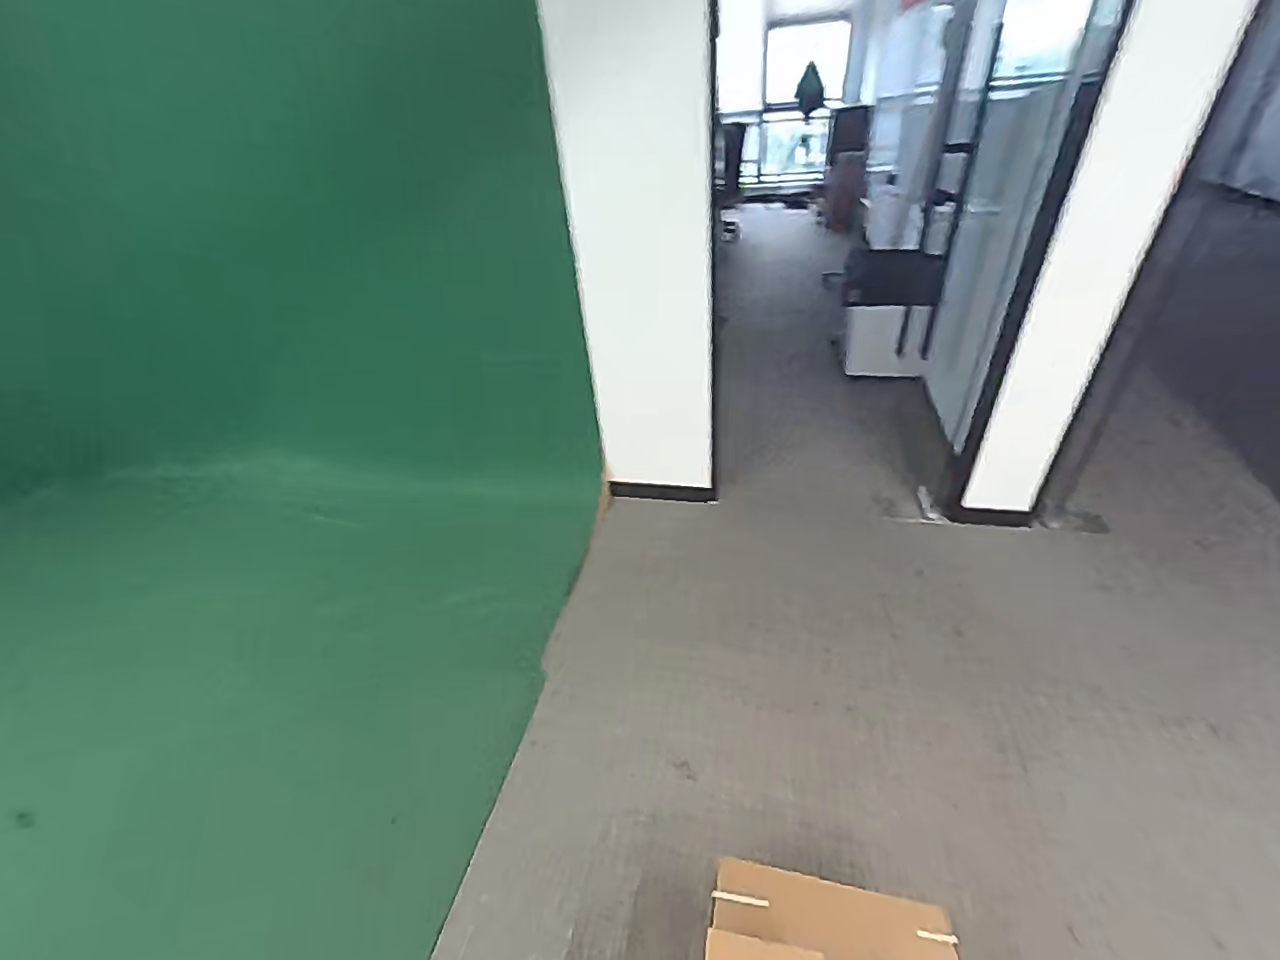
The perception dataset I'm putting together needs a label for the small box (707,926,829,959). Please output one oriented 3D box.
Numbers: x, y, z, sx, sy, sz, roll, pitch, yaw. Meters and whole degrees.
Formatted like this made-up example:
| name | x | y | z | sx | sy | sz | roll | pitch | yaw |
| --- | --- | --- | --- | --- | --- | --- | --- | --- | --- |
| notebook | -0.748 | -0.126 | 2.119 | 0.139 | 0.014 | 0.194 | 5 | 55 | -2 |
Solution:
| name | x | y | z | sx | sy | sz | roll | pitch | yaw |
| --- | --- | --- | --- | --- | --- | --- | --- | --- | --- |
| small box | 0.179 | 0.795 | 0.784 | 0.179 | 0.176 | 0.168 | 3 | 34 | 13 |
